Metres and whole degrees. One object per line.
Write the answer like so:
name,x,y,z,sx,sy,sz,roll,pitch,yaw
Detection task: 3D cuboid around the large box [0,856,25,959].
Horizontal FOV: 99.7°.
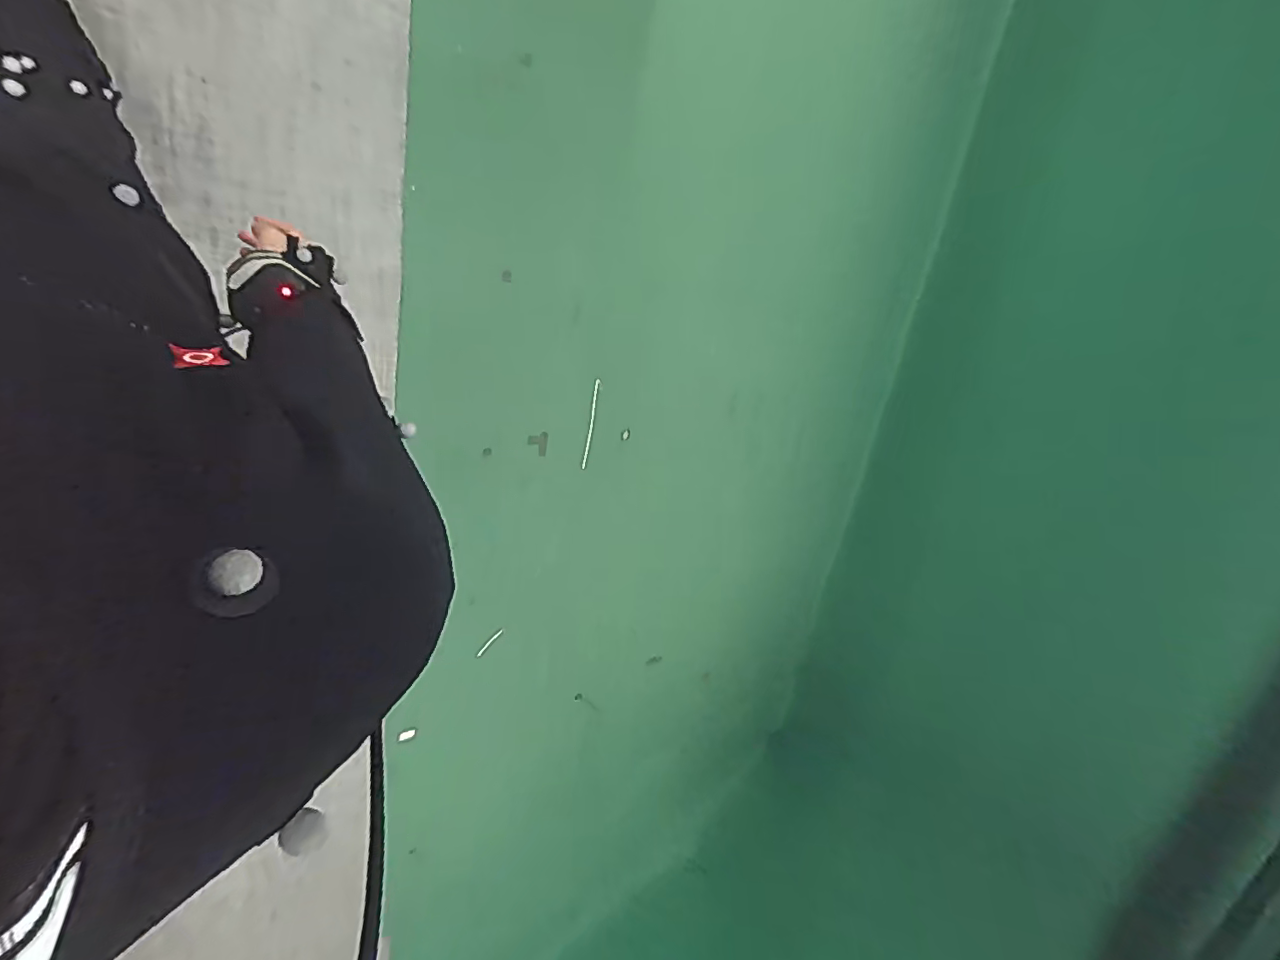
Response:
large box,-1.373,0.972,0.928,0.408,0.320,0.320,1,108,-46
